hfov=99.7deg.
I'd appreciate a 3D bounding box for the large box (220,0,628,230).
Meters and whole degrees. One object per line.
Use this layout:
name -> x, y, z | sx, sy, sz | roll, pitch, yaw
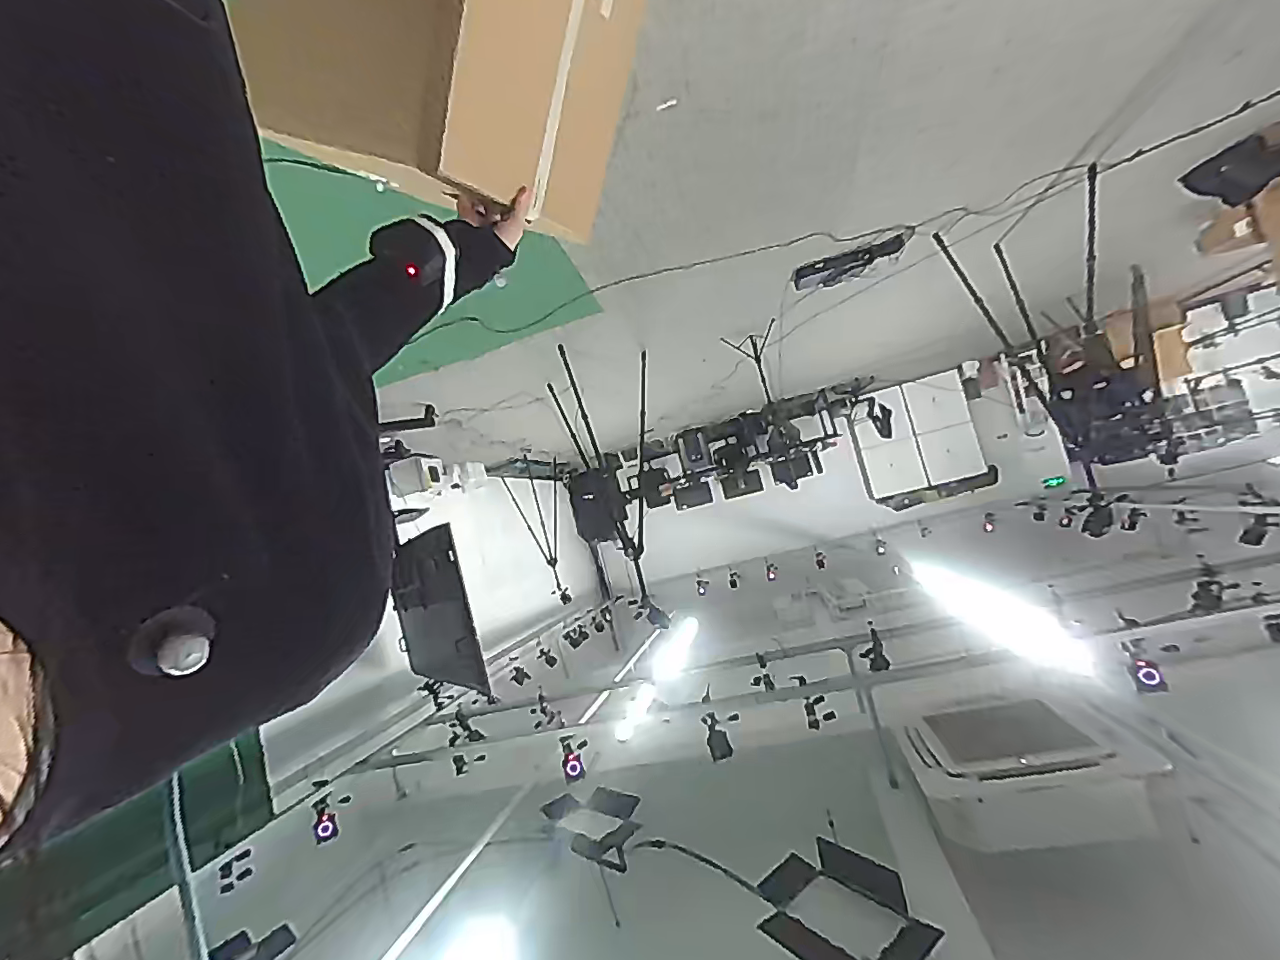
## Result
large box -> -0.229, -0.564, 0.634 | 0.320, 0.408, 0.320 | 22, -162, 16
